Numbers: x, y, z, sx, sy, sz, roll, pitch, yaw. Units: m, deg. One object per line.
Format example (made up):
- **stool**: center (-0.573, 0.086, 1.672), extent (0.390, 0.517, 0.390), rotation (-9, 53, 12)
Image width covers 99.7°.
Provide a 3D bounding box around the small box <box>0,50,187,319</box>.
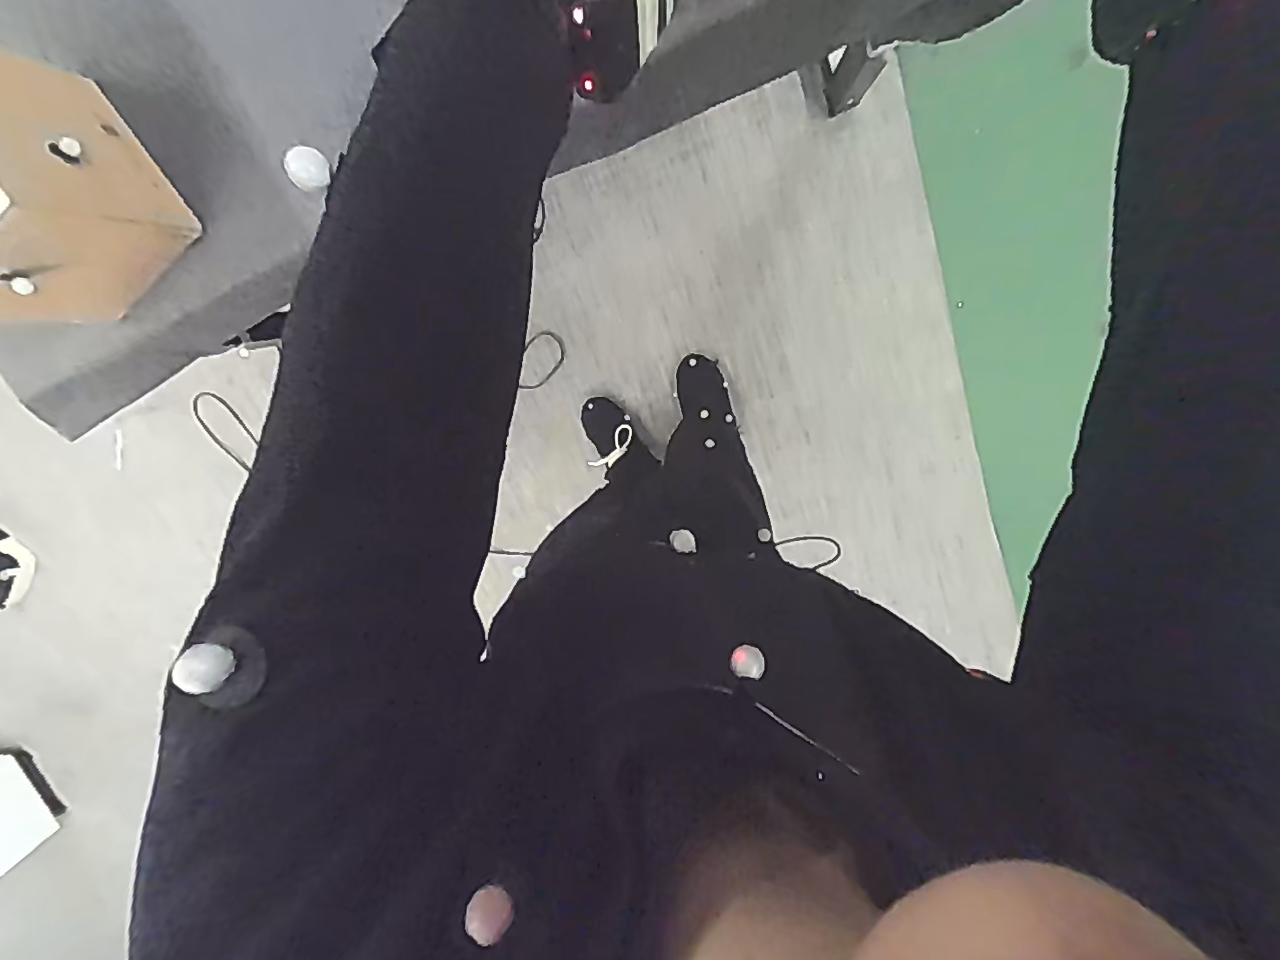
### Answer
- **small box**: center (-0.578, -0.267, 0.496), extent (0.179, 0.176, 0.168), rotation (-29, 101, 18)
